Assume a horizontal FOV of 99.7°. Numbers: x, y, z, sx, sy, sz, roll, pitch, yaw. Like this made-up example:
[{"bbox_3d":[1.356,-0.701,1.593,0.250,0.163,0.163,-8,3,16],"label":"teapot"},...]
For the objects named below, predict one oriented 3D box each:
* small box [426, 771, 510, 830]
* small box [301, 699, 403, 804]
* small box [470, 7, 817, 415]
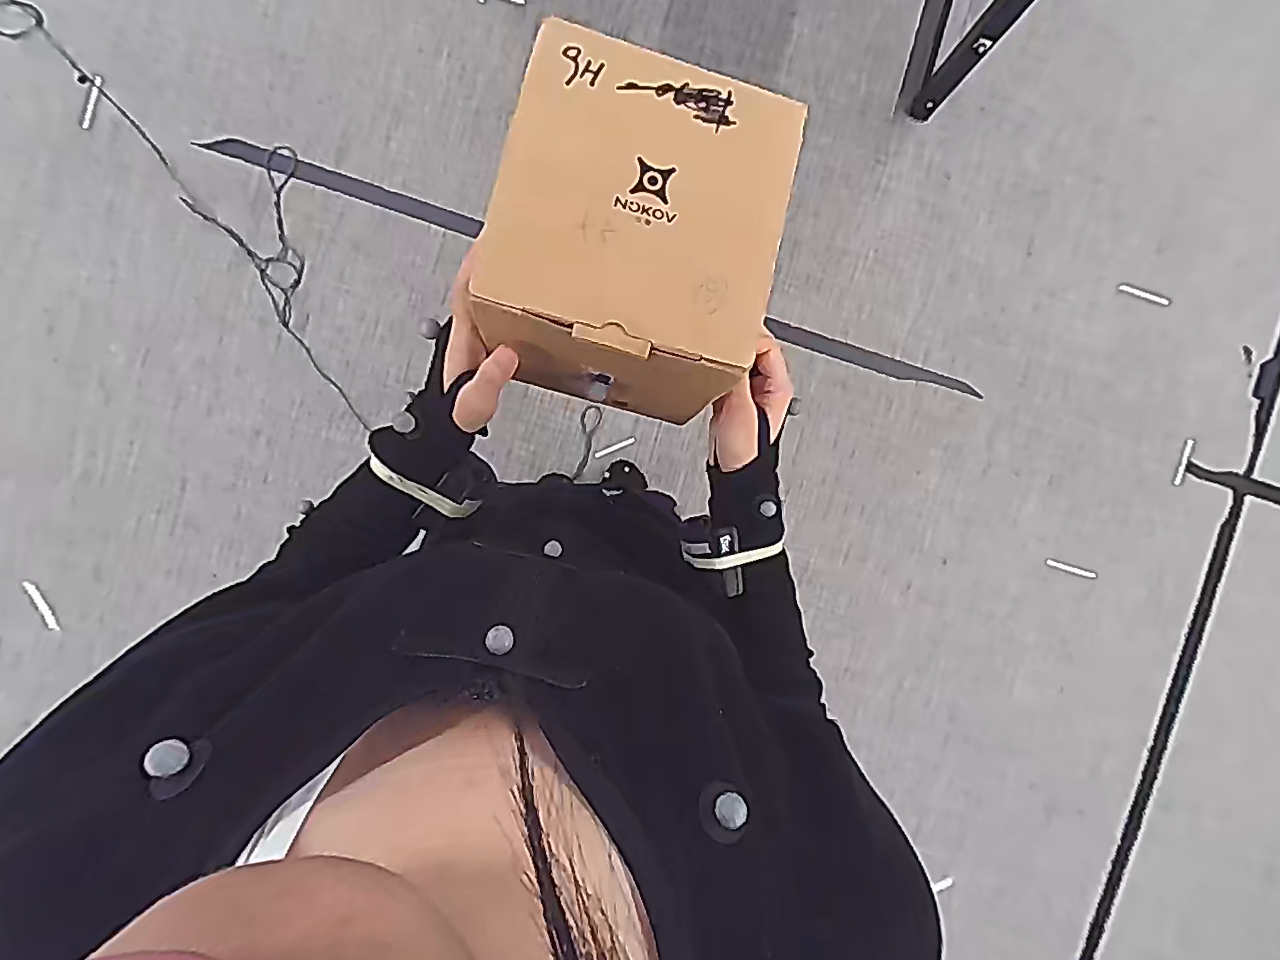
[{"bbox_3d":[-0.458,0.898,1.415,0.179,0.176,0.168,18,91,-5],"label":"small box"},{"bbox_3d":[-0.732,0.690,1.393,0.168,0.176,0.179,11,92,-3],"label":"small box"},{"bbox_3d":[-0.004,-0.156,0.382,0.168,0.176,0.179,14,85,-8],"label":"small box"}]
